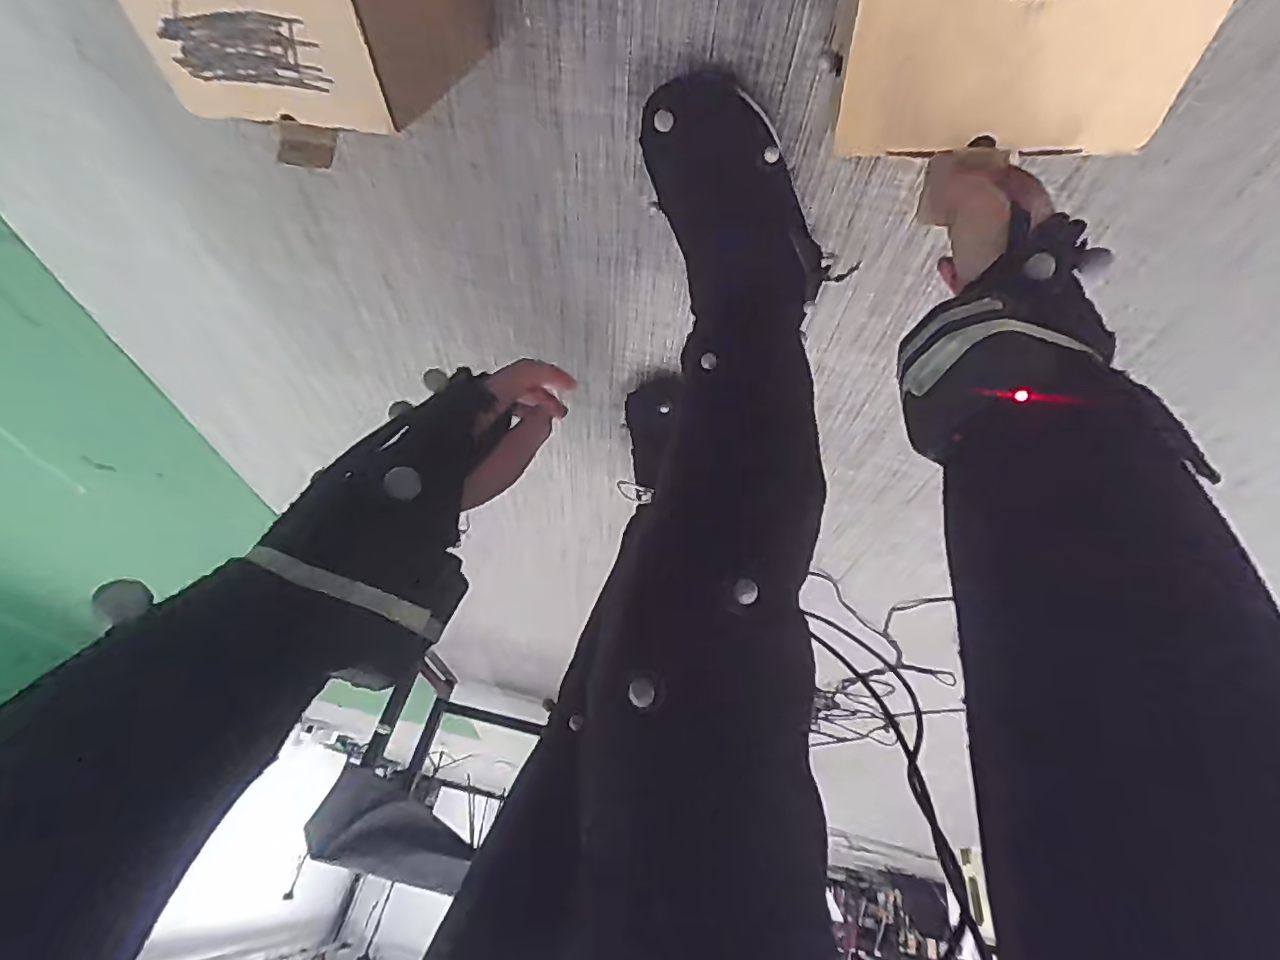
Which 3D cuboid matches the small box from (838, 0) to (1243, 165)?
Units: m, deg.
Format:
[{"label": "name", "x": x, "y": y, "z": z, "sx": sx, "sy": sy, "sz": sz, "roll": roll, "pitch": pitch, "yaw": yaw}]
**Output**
[{"label": "small box", "x": 0.206, "y": -0.299, "z": 0.292, "sx": 0.168, "sy": 0.176, "sz": 0.179, "roll": 6, "pitch": 144, "yaw": 12}]
